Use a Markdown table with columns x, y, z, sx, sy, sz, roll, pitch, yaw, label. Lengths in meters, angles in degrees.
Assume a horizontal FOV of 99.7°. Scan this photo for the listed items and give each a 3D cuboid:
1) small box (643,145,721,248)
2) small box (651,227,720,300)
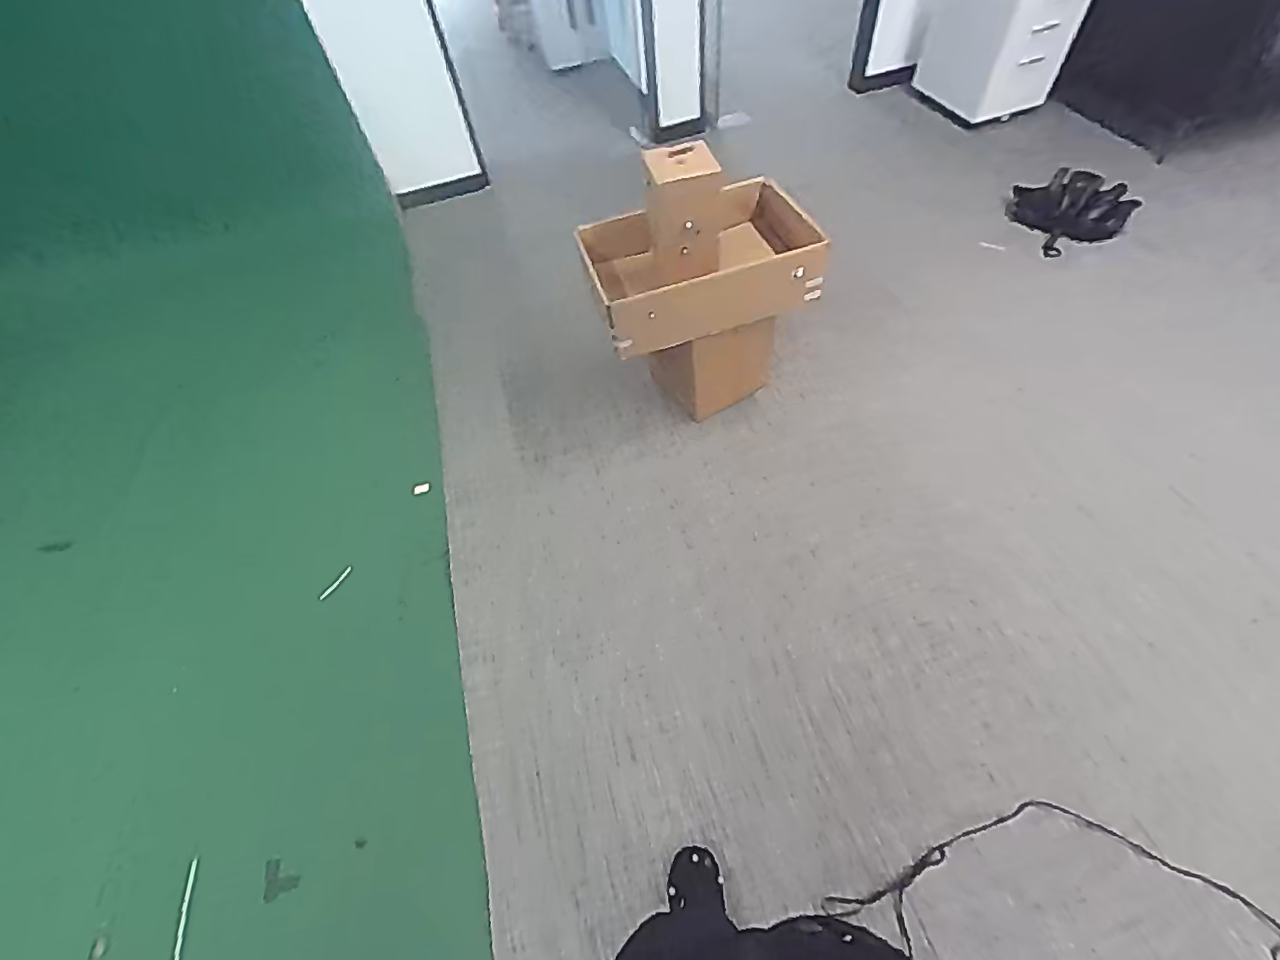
| x | y | z | sx | sy | sz | roll | pitch | yaw | label |
| --- | --- | --- | --- | --- | --- | --- | --- | --- | --- |
| 0.107 | -0.738 | 1.413 | 0.168 | 0.176 | 0.179 | -13 | 55 | -3 | small box |
| 0.127 | -0.645 | 1.547 | 0.168 | 0.176 | 0.179 | -11 | 54 | -1 | small box |
